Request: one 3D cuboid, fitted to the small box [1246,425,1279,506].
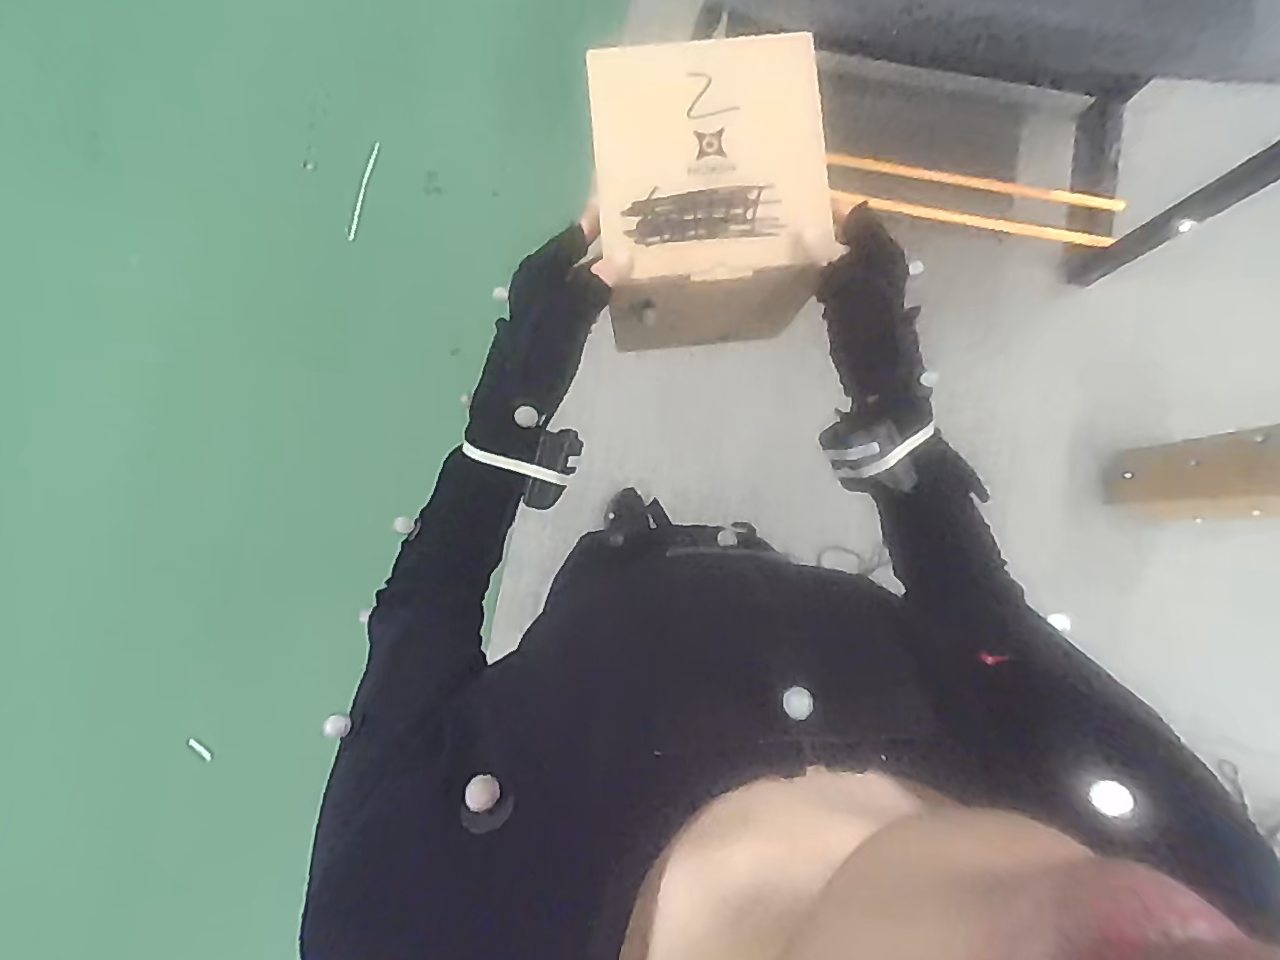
[{"bbox_3d":[1.418,-0.026,1.106,0.179,0.176,0.168,14,84,1],"label":"small box"}]

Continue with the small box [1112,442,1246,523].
[{"bbox_3d":[1.417,0.013,1.430,0.179,0.176,0.168,16,83,2],"label":"small box"}]
